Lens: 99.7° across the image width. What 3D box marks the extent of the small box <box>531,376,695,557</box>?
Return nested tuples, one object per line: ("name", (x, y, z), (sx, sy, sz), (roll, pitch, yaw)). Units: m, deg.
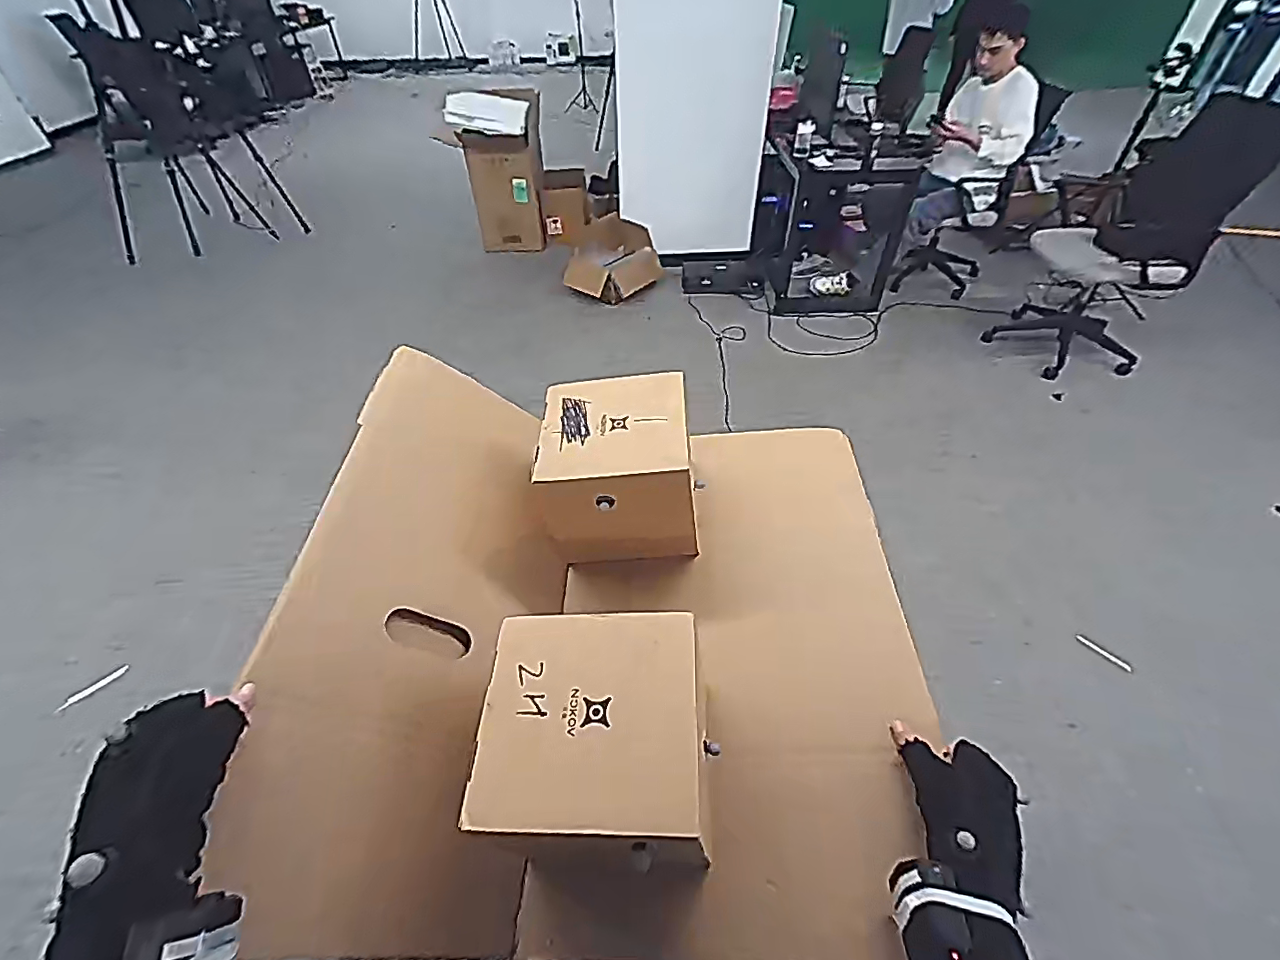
("small box", (-0.024, -0.011, 0.706), (0.179, 0.176, 0.168), (-5, 50, 6))
